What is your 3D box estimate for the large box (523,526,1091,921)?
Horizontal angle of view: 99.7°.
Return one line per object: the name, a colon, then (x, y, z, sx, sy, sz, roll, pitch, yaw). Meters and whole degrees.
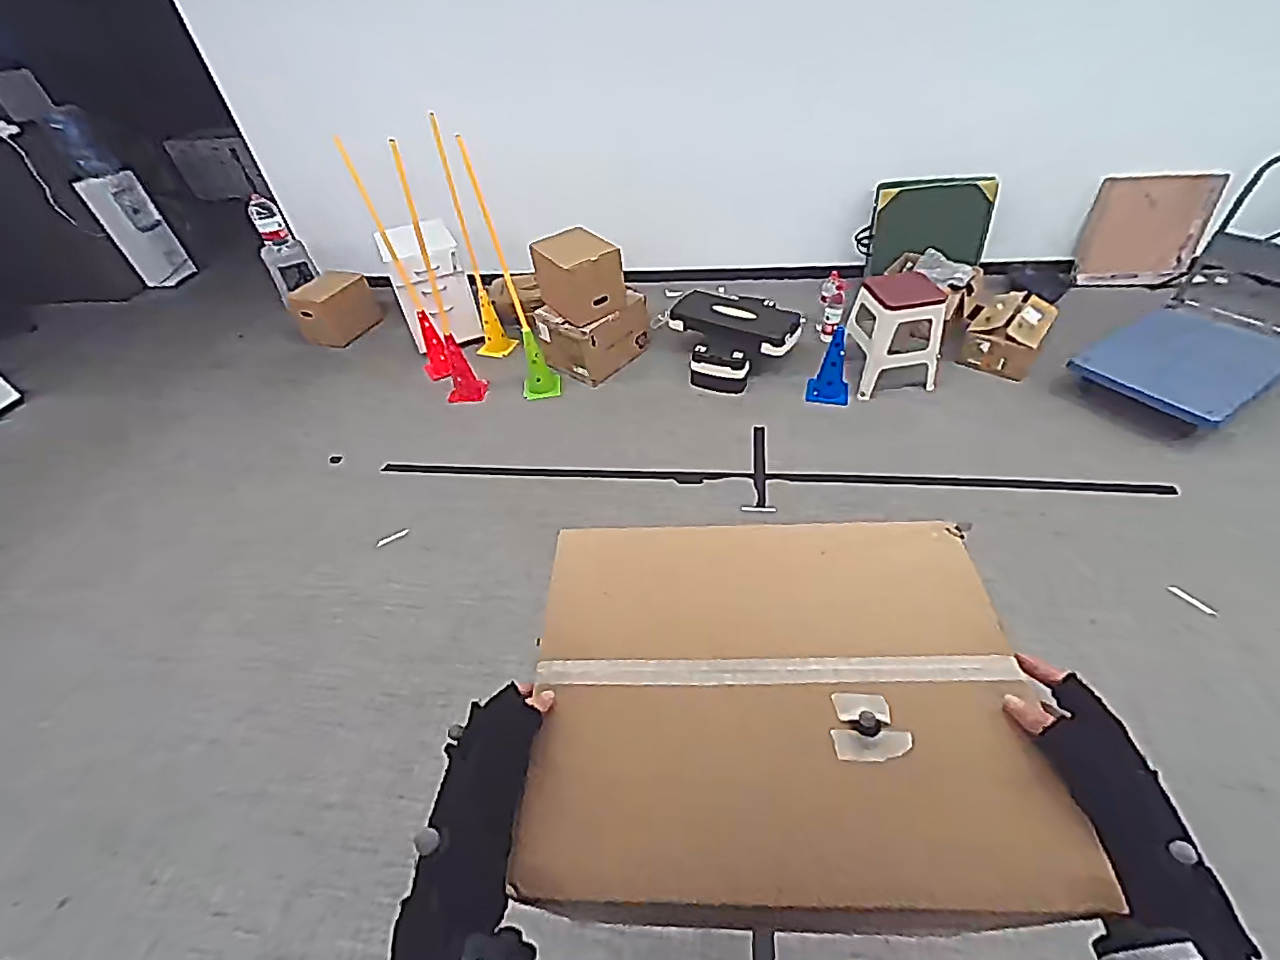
large box: (0.122, 0.268, 0.585, 0.408, 0.320, 0.320, -2, 48, 4)
